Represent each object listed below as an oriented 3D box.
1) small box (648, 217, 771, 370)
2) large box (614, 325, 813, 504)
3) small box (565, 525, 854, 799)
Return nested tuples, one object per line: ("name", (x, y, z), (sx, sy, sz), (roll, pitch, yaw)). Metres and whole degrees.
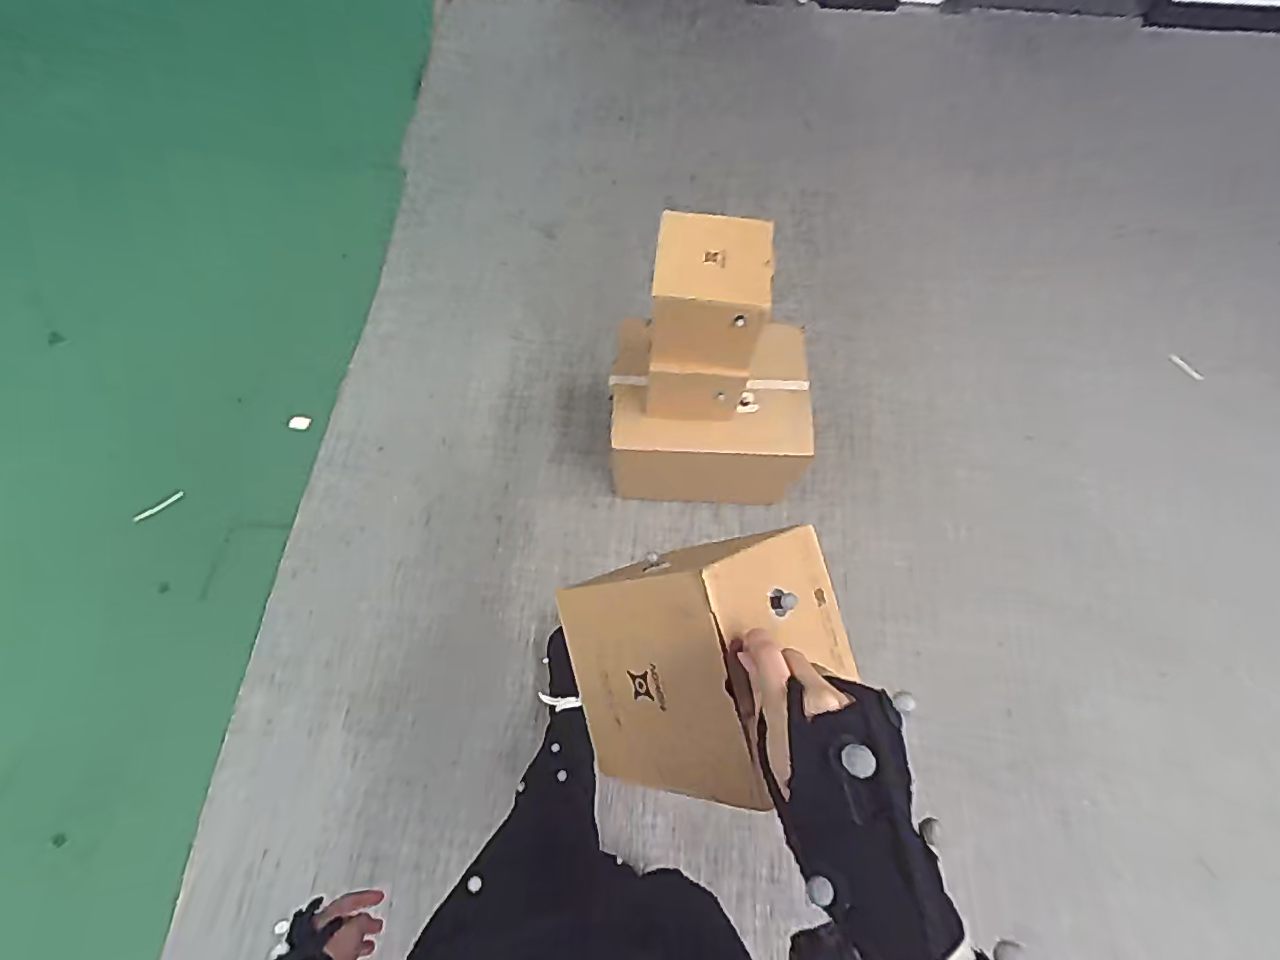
("small box", (0.108, -0.297, 0.886), (0.179, 0.176, 0.168), (6, 69, 1))
("large box", (0.144, -0.138, 1.261), (0.408, 0.320, 0.320), (2, 70, -1))
("small box", (0.066, 0.143, 0.477), (0.176, 0.179, 0.168), (-9, 82, -44))
